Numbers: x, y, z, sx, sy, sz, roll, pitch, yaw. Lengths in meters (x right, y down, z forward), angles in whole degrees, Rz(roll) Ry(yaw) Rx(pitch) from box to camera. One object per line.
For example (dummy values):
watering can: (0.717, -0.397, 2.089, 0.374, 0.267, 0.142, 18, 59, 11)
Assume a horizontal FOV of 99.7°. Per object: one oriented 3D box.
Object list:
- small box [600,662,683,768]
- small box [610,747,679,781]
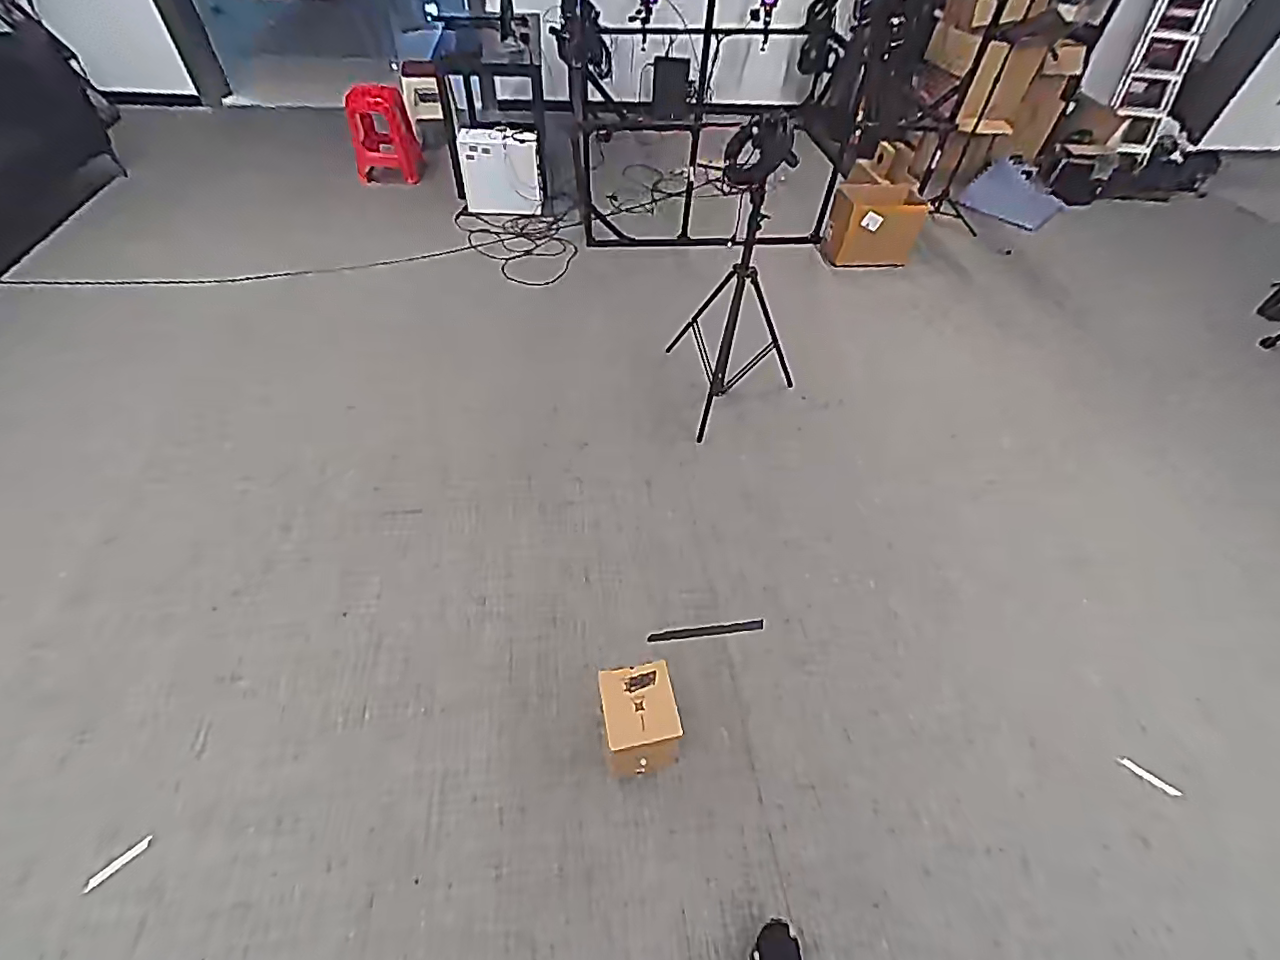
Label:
small box: (-0.004, 0.559, 1.286, 0.168, 0.176, 0.179, -8, 52, -9)
small box: (-0.005, 0.660, 1.416, 0.168, 0.176, 0.179, -9, 51, -10)
